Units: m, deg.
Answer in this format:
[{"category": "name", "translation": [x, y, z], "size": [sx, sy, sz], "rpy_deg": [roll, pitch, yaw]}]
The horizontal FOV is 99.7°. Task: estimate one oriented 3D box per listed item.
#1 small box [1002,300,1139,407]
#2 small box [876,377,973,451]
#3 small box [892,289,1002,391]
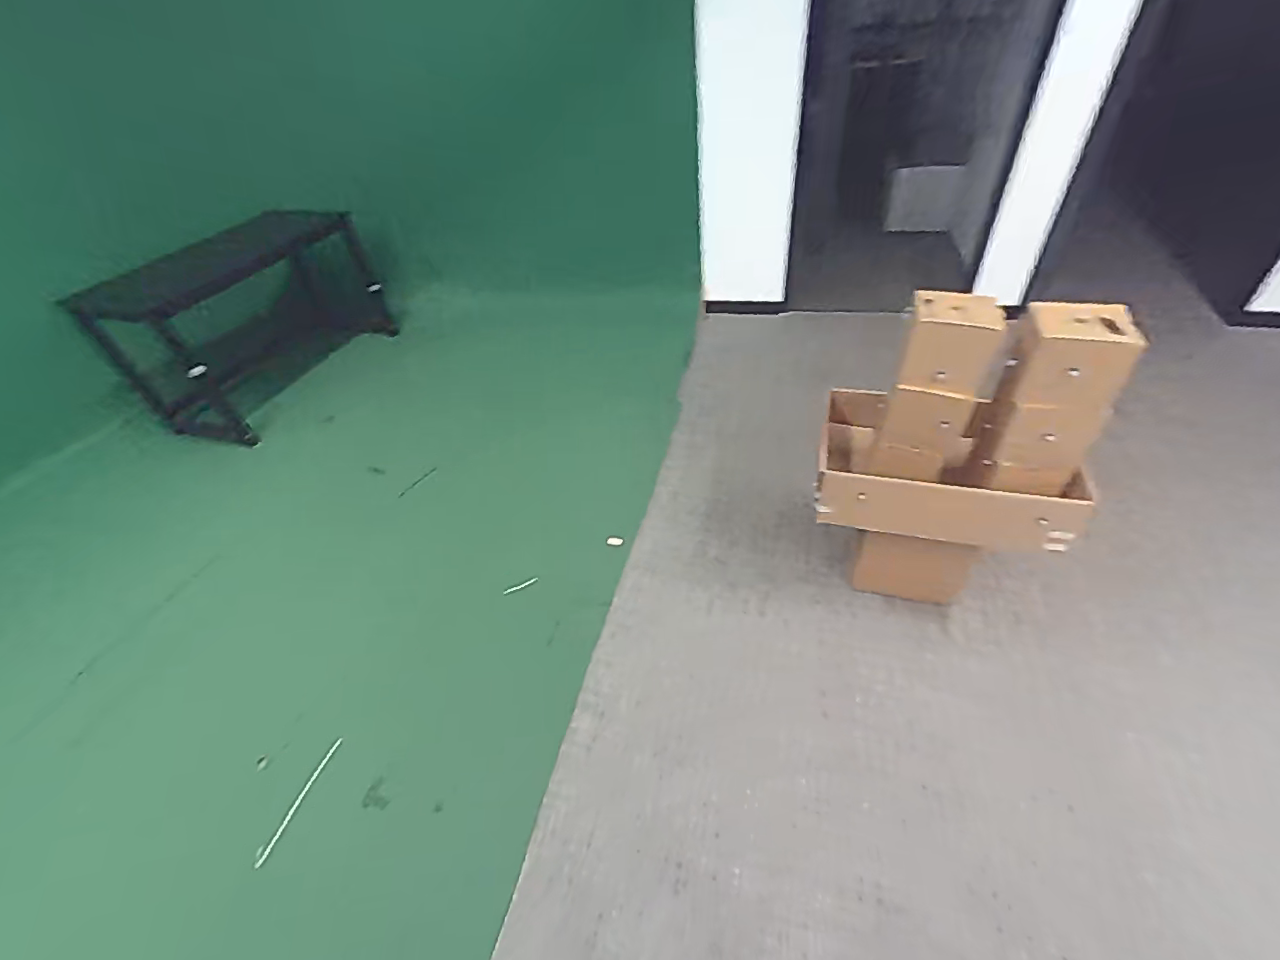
[{"category": "small box", "translation": [0.934, -0.278, 1.191], "size": [0.179, 0.176, 0.168], "rpy_deg": [9, 45, 18]}, {"category": "small box", "translation": [0.721, -0.196, 1.377], "size": [0.179, 0.176, 0.168], "rpy_deg": [14, 45, 18]}, {"category": "small box", "translation": [0.718, -0.330, 1.282], "size": [0.179, 0.176, 0.168], "rpy_deg": [13, 45, 14]}]
